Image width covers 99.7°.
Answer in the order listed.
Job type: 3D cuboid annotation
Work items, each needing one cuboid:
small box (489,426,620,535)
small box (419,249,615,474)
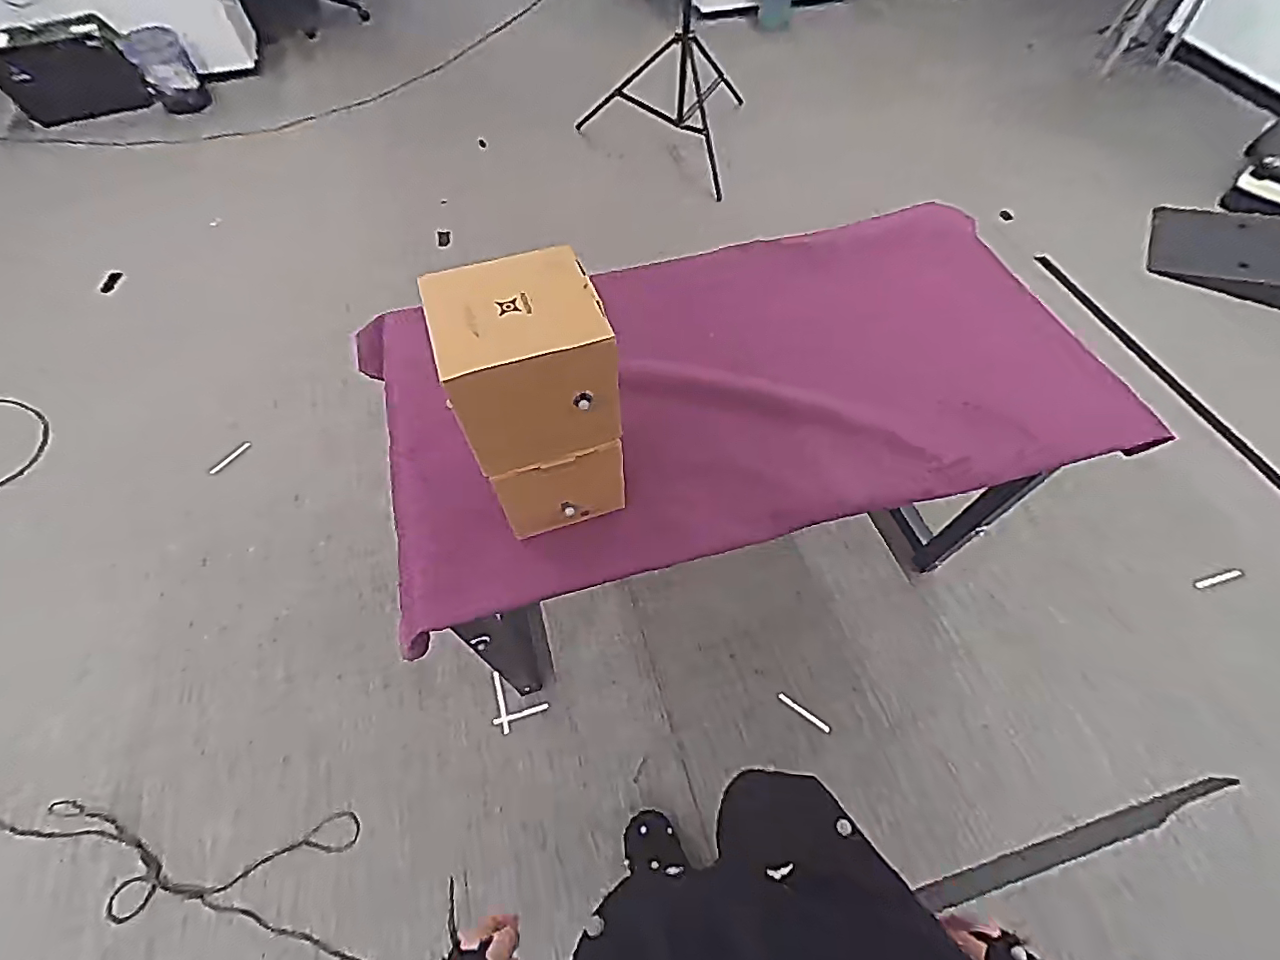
[{"bbox_3d":[-0.132,-0.048,0.772,0.168,0.176,0.179,-17,60,-10],"label":"small box"},{"bbox_3d":[-0.134,-0.133,0.634,0.179,0.176,0.168,-18,59,-10],"label":"small box"}]
